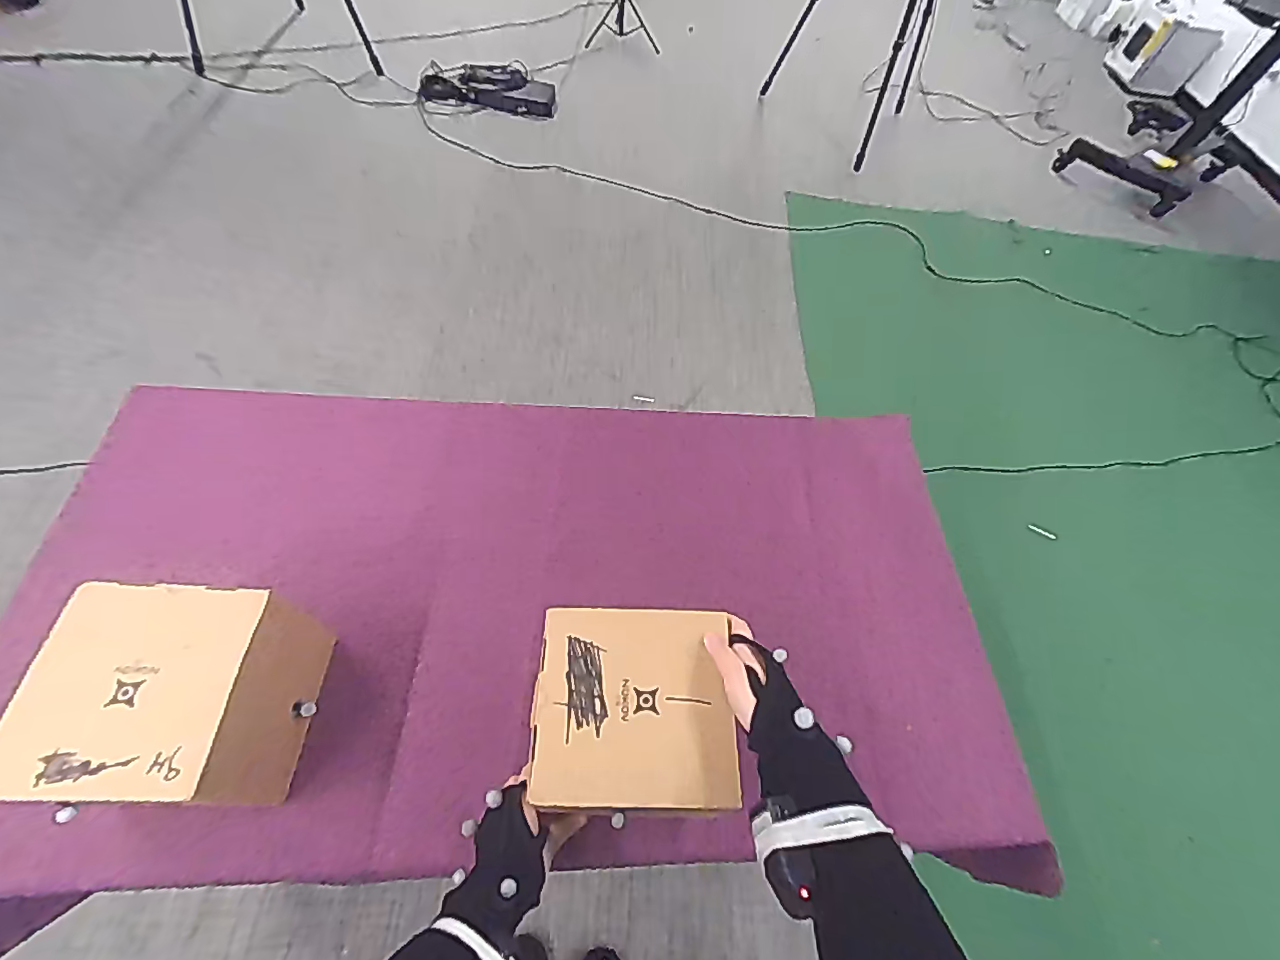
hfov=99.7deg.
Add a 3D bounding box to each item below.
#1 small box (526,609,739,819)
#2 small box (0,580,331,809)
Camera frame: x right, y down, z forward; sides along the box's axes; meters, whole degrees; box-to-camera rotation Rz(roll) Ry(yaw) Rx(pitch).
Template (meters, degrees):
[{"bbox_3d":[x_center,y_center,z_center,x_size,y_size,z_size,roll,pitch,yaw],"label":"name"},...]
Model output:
[{"bbox_3d":[-0.006,0.241,0.545,0.179,0.176,0.168,2,57,-2],"label":"small box"},{"bbox_3d":[-0.435,0.215,0.530,0.168,0.176,0.179,4,57,-4],"label":"small box"}]
